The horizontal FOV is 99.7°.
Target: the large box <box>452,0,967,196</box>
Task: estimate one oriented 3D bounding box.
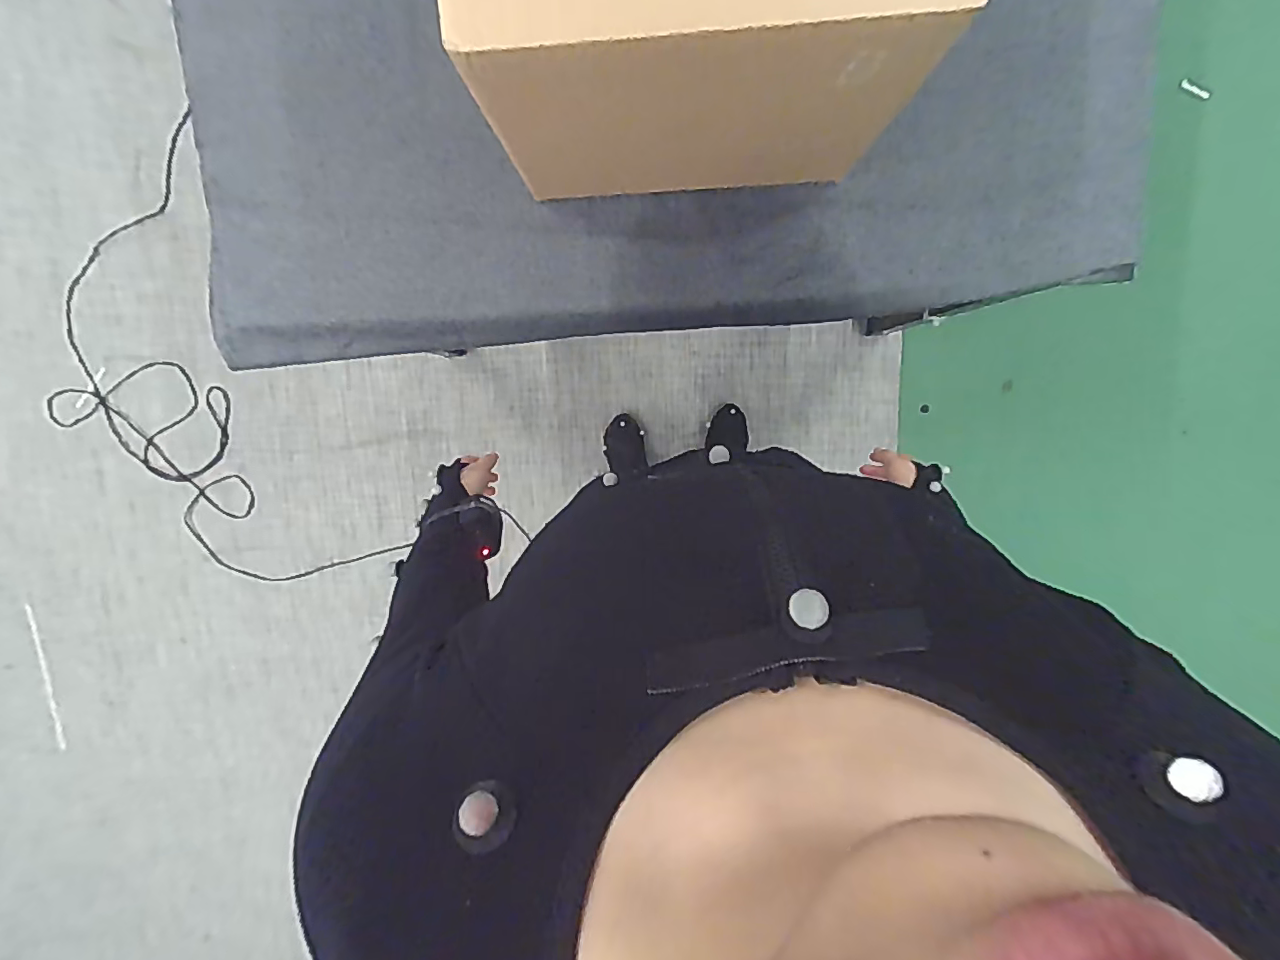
[{"bbox_3d":[0.044,-0.516,0.541,0.408,0.320,0.320,-4,99,1],"label":"large box"}]
